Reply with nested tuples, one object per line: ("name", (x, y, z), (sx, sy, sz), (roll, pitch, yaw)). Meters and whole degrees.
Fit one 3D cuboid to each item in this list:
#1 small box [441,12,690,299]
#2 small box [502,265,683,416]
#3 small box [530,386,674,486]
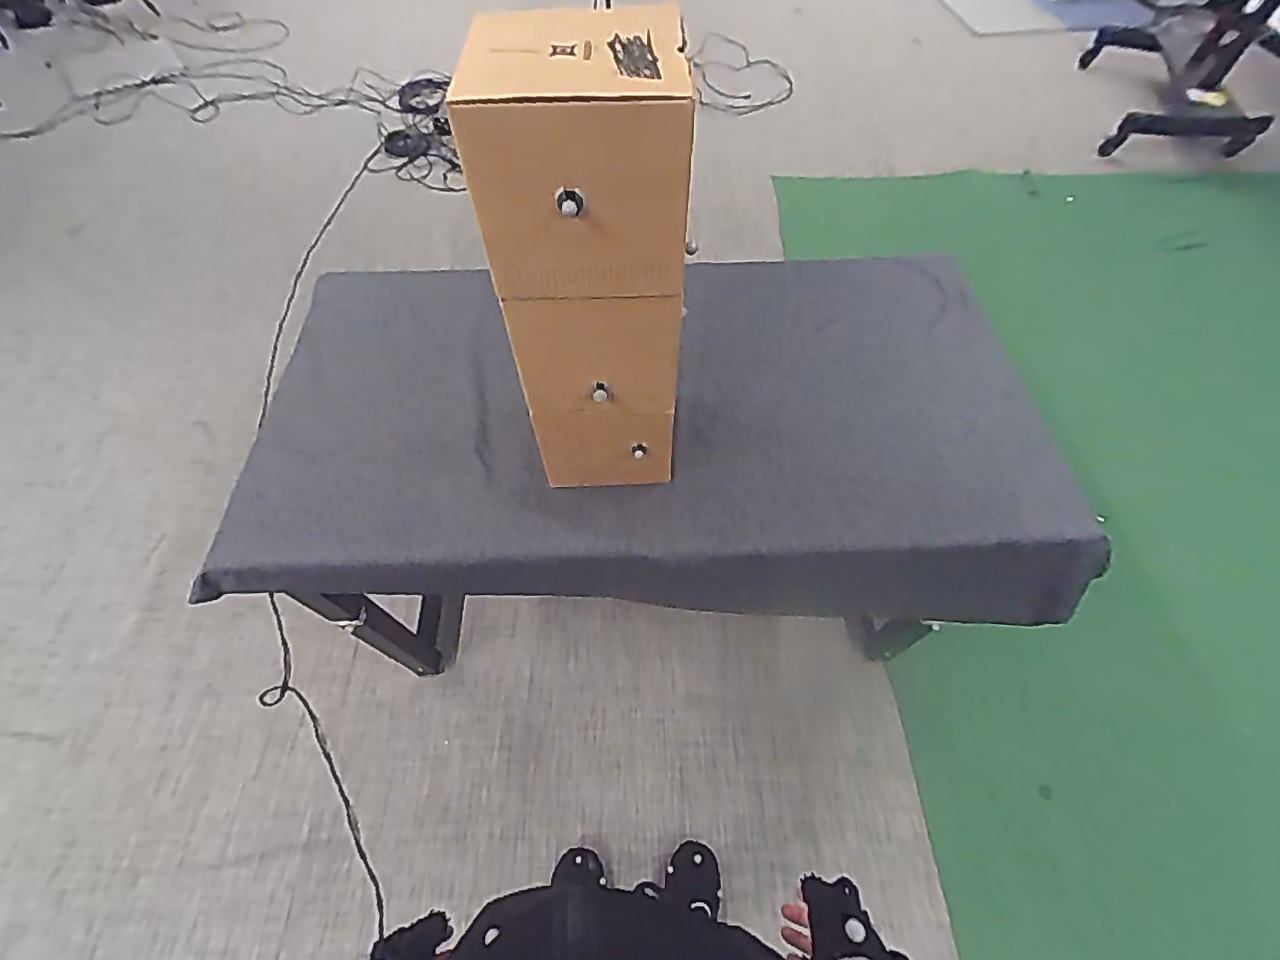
("small box", (-0.053, -0.282, 0.485), (0.179, 0.176, 0.168), (-2, 57, 1))
("small box", (-0.050, -0.191, 0.625), (0.179, 0.176, 0.168), (-5, 59, -1))
("small box", (-0.048, -0.104, 0.761), (0.179, 0.176, 0.168), (-4, 57, 0))
